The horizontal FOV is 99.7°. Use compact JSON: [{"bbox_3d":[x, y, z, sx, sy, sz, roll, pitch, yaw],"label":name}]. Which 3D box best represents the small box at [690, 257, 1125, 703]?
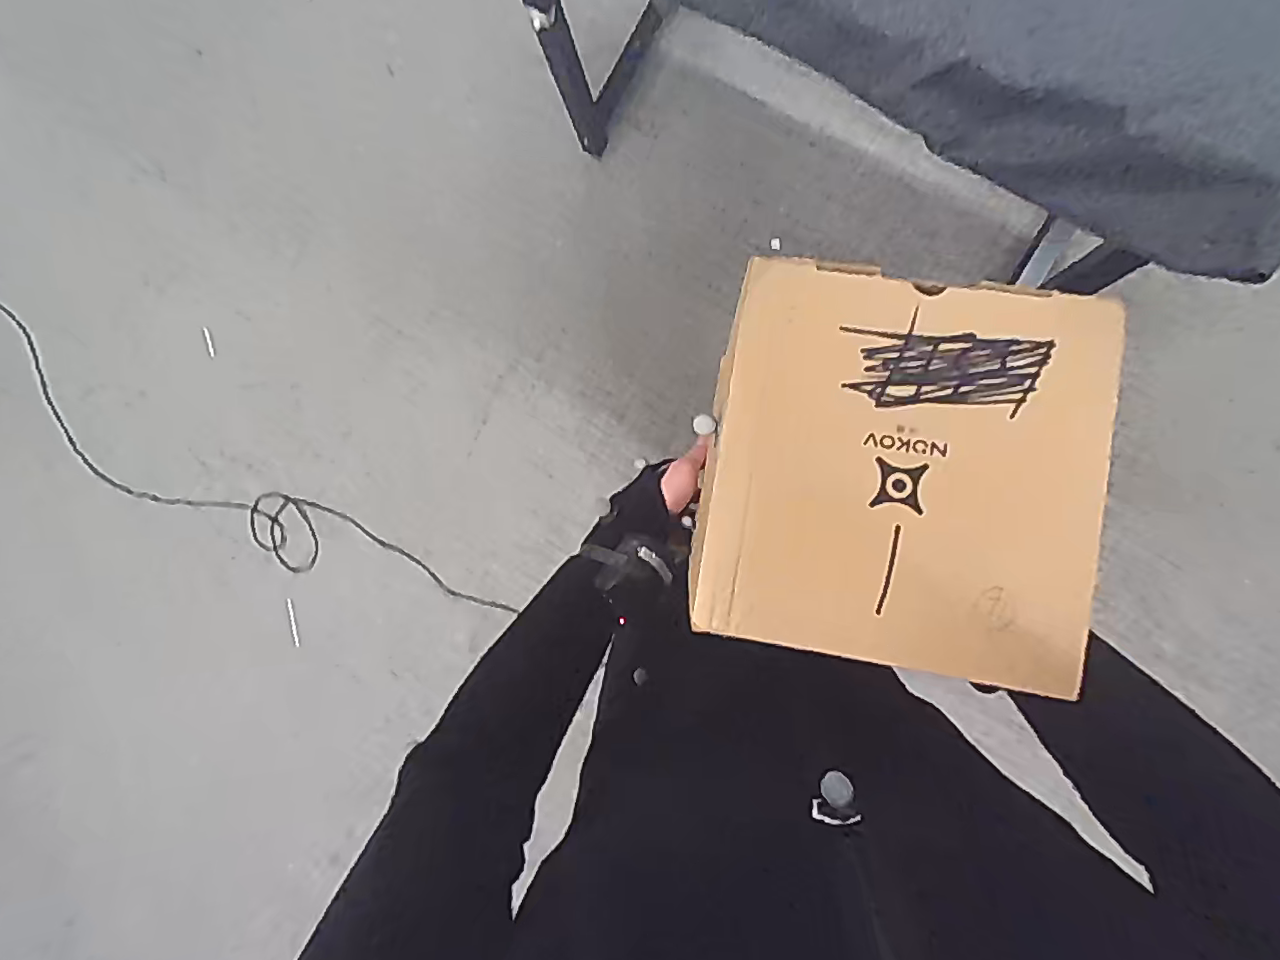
[{"bbox_3d":[0.123,0.000,0.316,0.168,0.176,0.179,9,88,7],"label":"small box"}]
